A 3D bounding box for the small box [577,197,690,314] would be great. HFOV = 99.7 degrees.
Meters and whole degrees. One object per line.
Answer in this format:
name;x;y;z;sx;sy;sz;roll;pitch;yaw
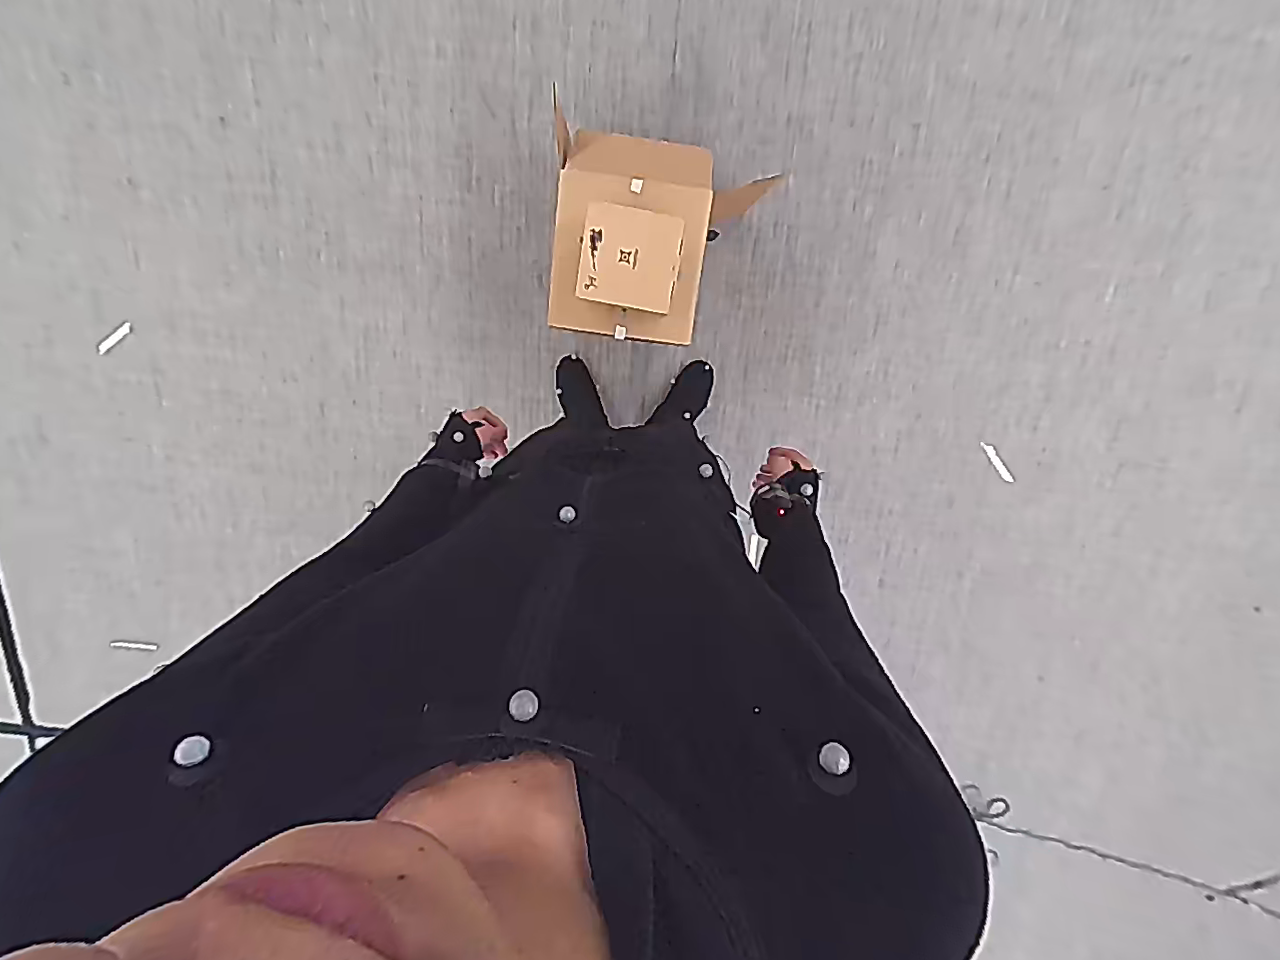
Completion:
small box;-0.013;-0.417;1.028;0.179;0.176;0.168;10;106;-3
